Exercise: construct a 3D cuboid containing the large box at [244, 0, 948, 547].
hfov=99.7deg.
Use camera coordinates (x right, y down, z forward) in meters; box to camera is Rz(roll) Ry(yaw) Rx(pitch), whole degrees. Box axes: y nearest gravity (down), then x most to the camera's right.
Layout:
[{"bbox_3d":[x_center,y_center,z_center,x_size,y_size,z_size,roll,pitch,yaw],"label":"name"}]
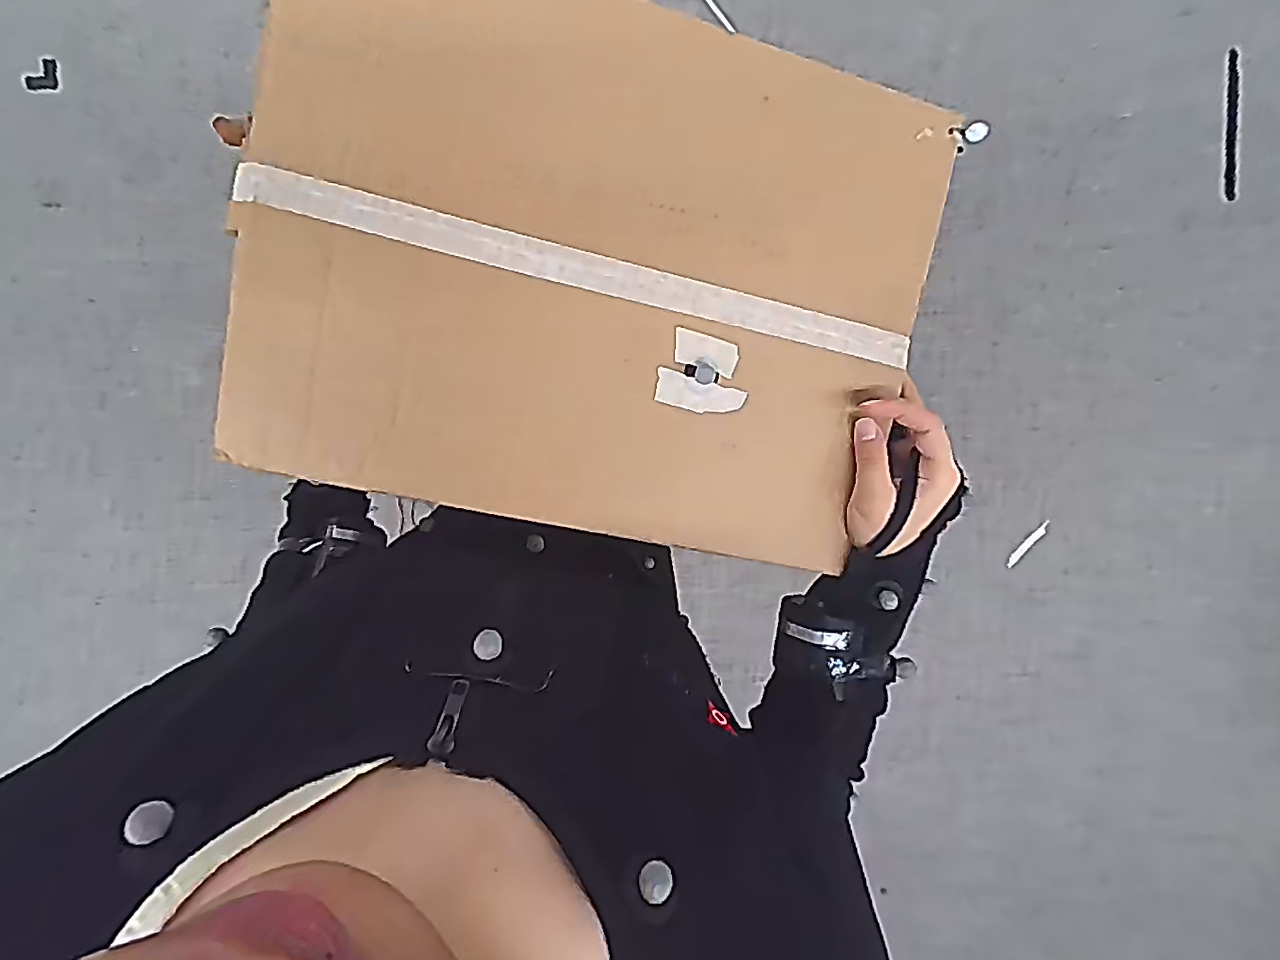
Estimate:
[{"bbox_3d":[-0.039,-0.151,0.483,0.408,0.320,0.320,11,96,-11],"label":"large box"}]
